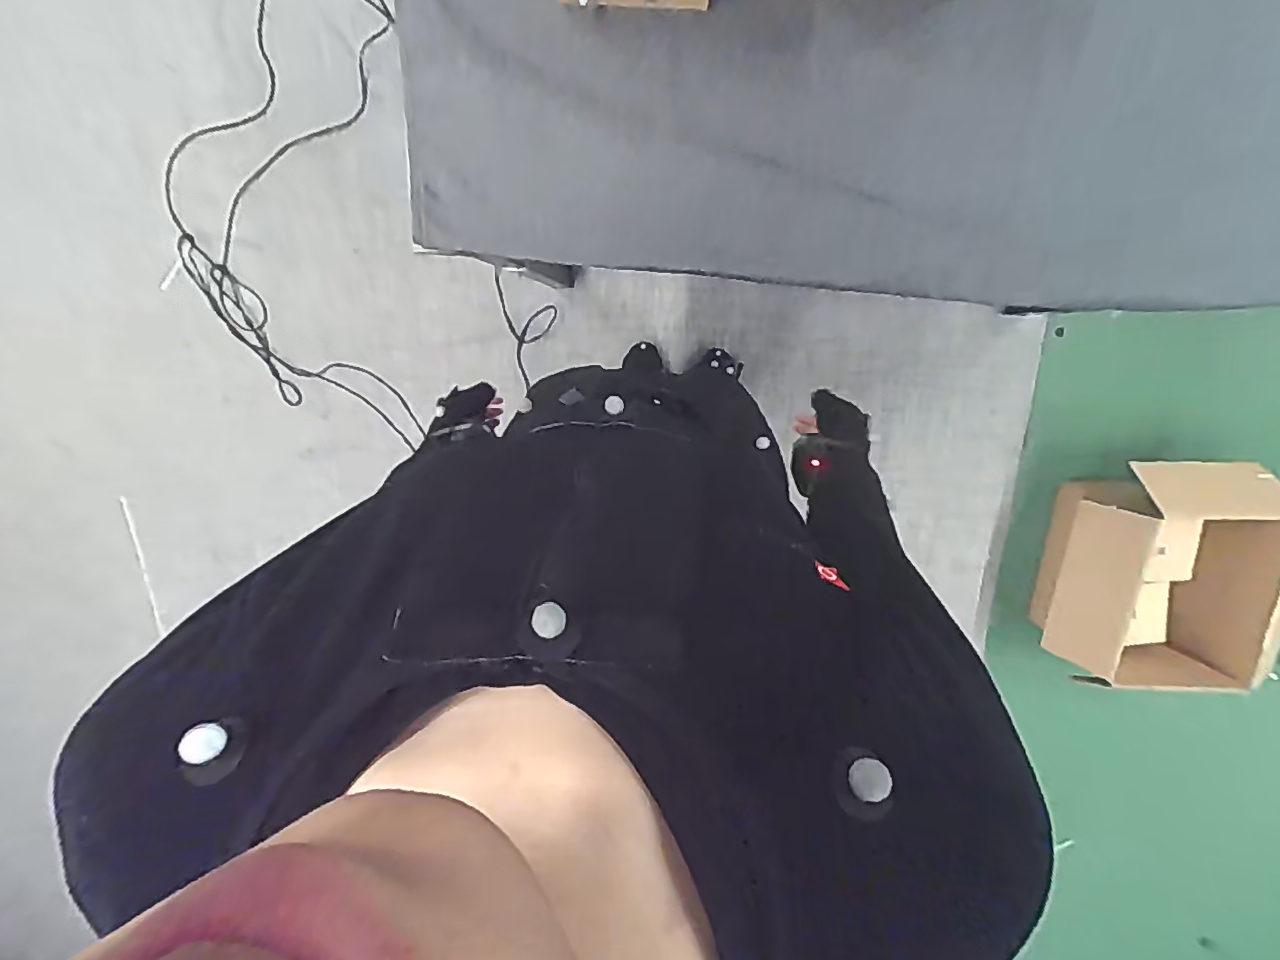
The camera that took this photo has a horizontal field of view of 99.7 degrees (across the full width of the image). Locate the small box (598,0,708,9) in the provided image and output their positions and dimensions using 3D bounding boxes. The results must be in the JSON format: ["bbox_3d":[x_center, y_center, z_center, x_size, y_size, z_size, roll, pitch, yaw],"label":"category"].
[{"bbox_3d":[-0.003,-0.582,0.498,0.168,0.176,0.179,4,104,2],"label":"small box"}]
